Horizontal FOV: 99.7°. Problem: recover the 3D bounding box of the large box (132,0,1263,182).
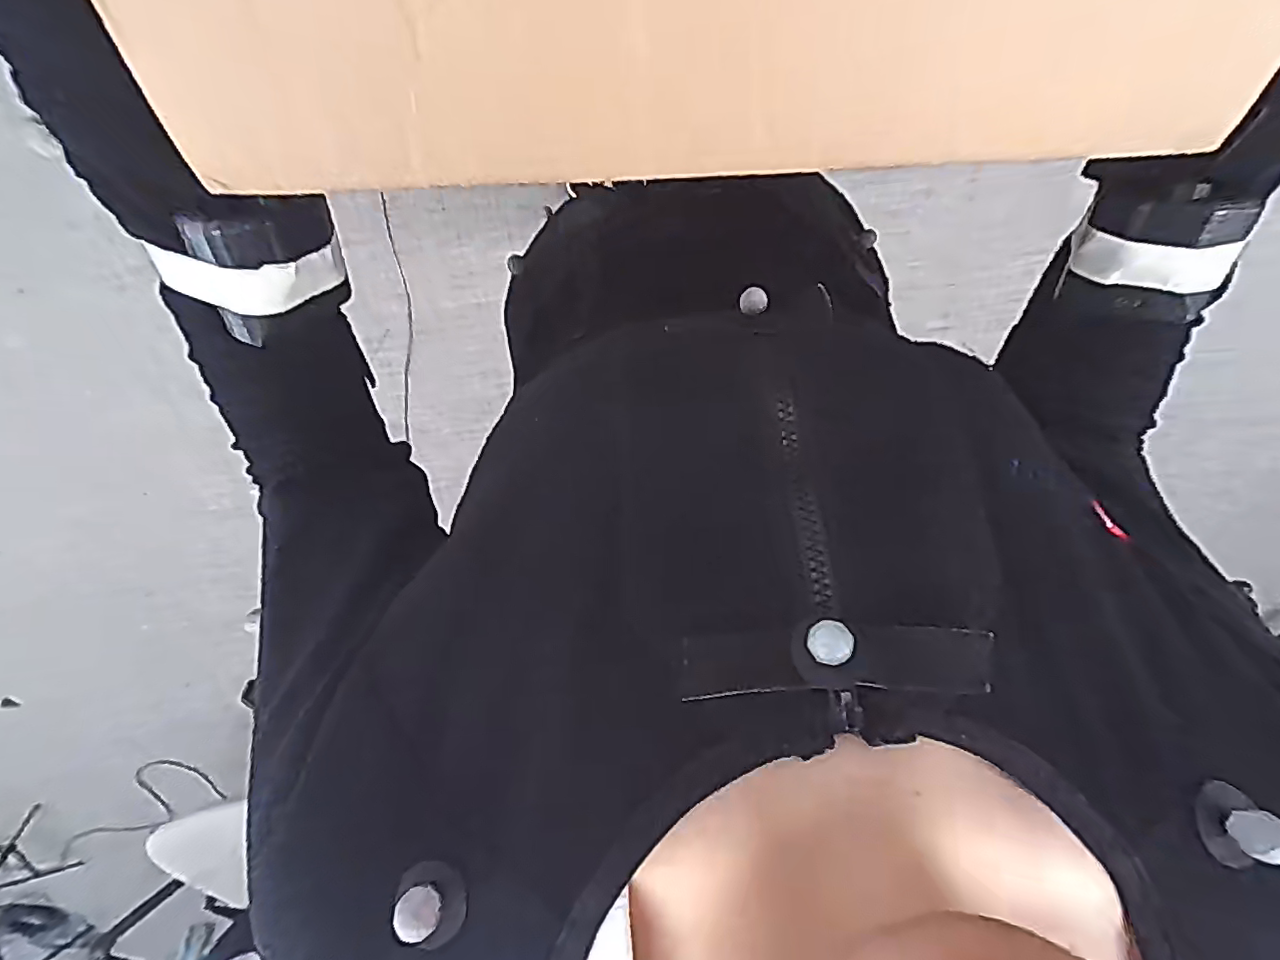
[{"bbox_3d":[0.021,-0.347,0.203,0.408,0.320,0.320,-4,139,-2],"label":"large box"}]
